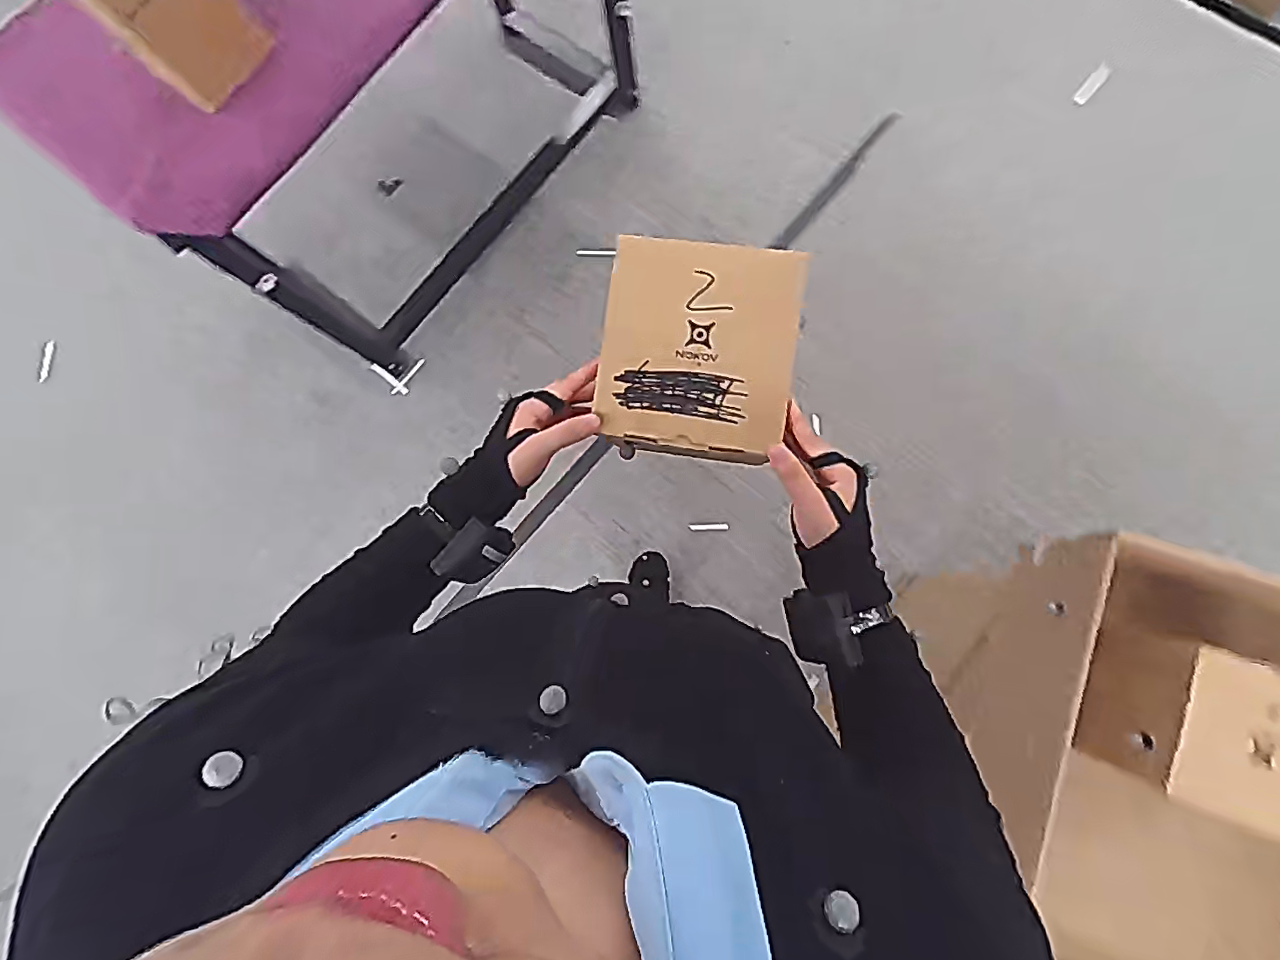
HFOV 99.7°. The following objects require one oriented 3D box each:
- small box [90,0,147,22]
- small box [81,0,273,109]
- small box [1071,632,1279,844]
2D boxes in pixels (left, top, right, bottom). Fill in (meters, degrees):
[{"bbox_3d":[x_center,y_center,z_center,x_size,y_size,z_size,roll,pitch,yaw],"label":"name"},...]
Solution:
[{"bbox_3d":[-0.795,-0.816,0.759,0.168,0.176,0.179,37,85,10],"label":"small box"},{"bbox_3d":[-0.785,-0.790,0.922,0.168,0.176,0.179,37,85,10],"label":"small box"},{"bbox_3d":[0.692,0.309,0.675,0.168,0.176,0.179,20,84,9],"label":"small box"}]
